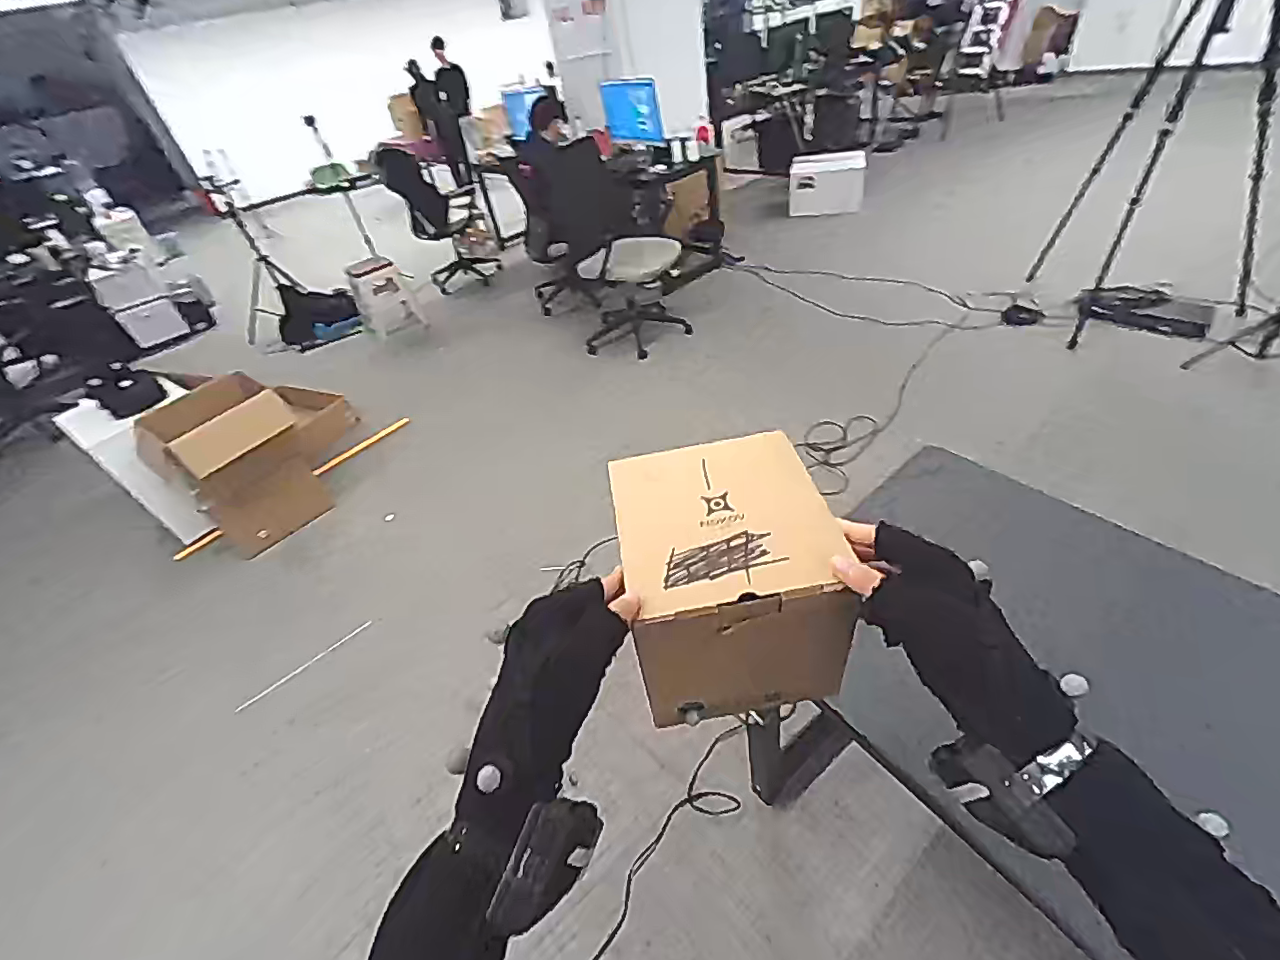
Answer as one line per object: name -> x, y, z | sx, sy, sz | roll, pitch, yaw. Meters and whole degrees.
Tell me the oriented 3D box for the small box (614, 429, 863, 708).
small box -> 0.076, 0.083, 0.483 | 0.168, 0.176, 0.179 | -10, 41, -1
